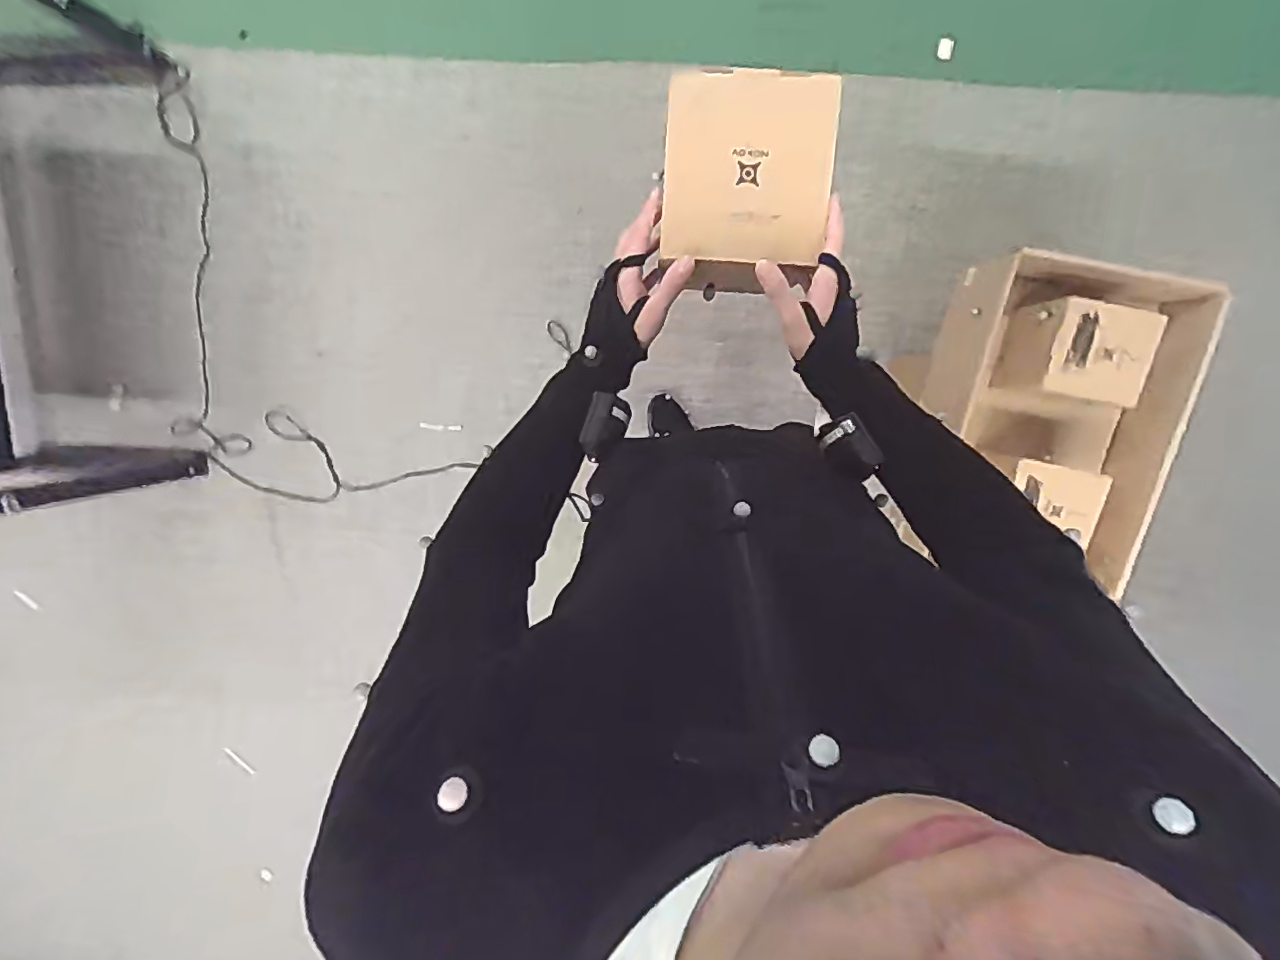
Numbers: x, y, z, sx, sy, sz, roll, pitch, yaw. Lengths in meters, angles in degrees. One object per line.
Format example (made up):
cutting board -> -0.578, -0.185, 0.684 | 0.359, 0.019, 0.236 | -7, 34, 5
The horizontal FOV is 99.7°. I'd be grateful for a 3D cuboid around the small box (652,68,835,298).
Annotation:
small box -> 0.101, -0.313, 0.604 | 0.168, 0.176, 0.179 | 3, 100, 1
